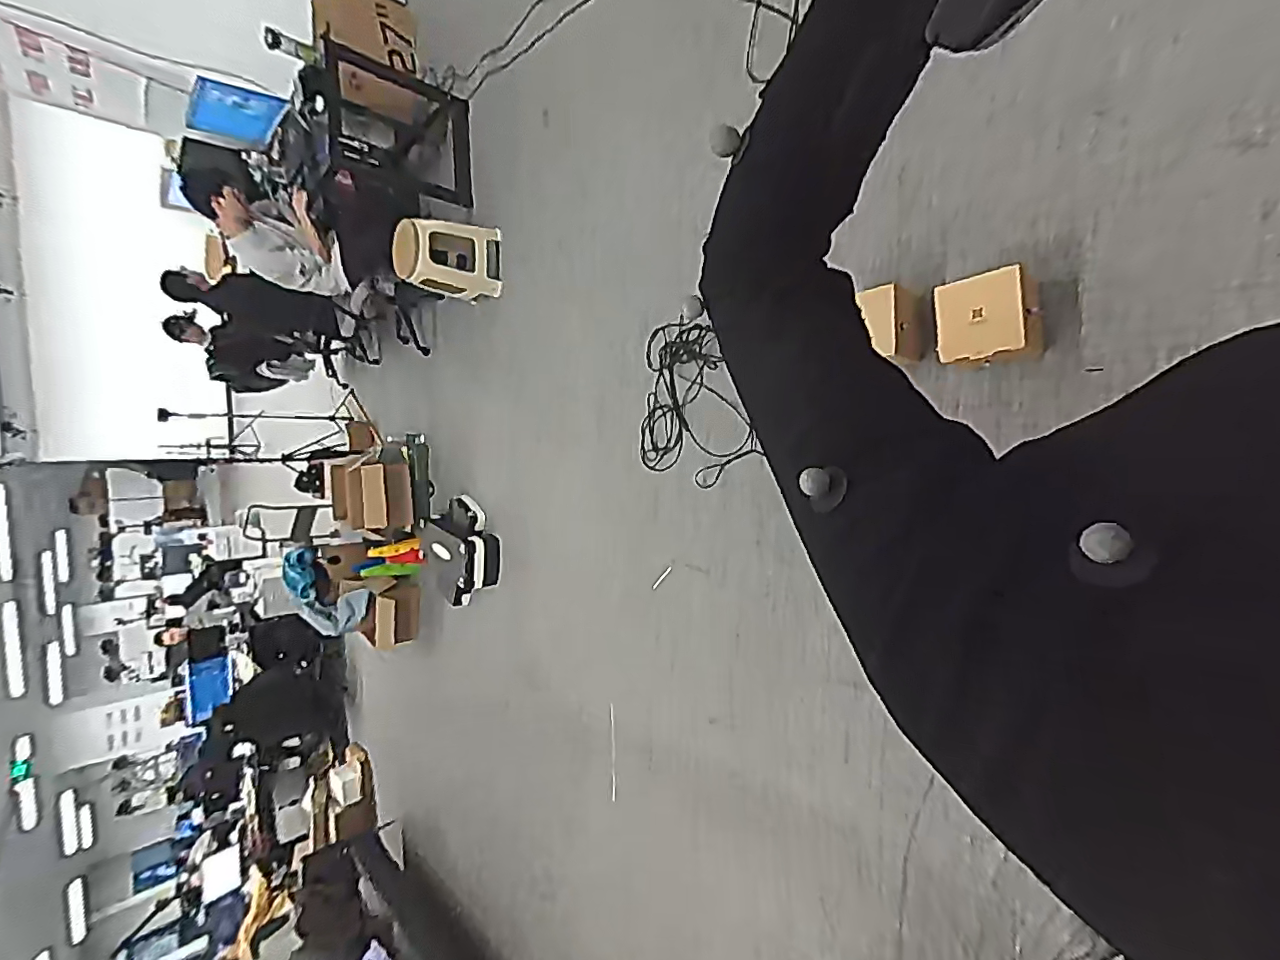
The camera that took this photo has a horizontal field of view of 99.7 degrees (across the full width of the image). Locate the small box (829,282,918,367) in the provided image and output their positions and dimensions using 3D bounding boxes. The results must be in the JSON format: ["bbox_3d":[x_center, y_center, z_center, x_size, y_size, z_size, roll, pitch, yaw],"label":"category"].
[{"bbox_3d":[0.611,-0.394,1.409,0.168,0.176,0.179,-1,92,46],"label":"small box"}]

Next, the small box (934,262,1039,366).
[{"bbox_3d":[0.788,-0.367,1.228,0.168,0.176,0.179,-5,91,47],"label":"small box"}]
